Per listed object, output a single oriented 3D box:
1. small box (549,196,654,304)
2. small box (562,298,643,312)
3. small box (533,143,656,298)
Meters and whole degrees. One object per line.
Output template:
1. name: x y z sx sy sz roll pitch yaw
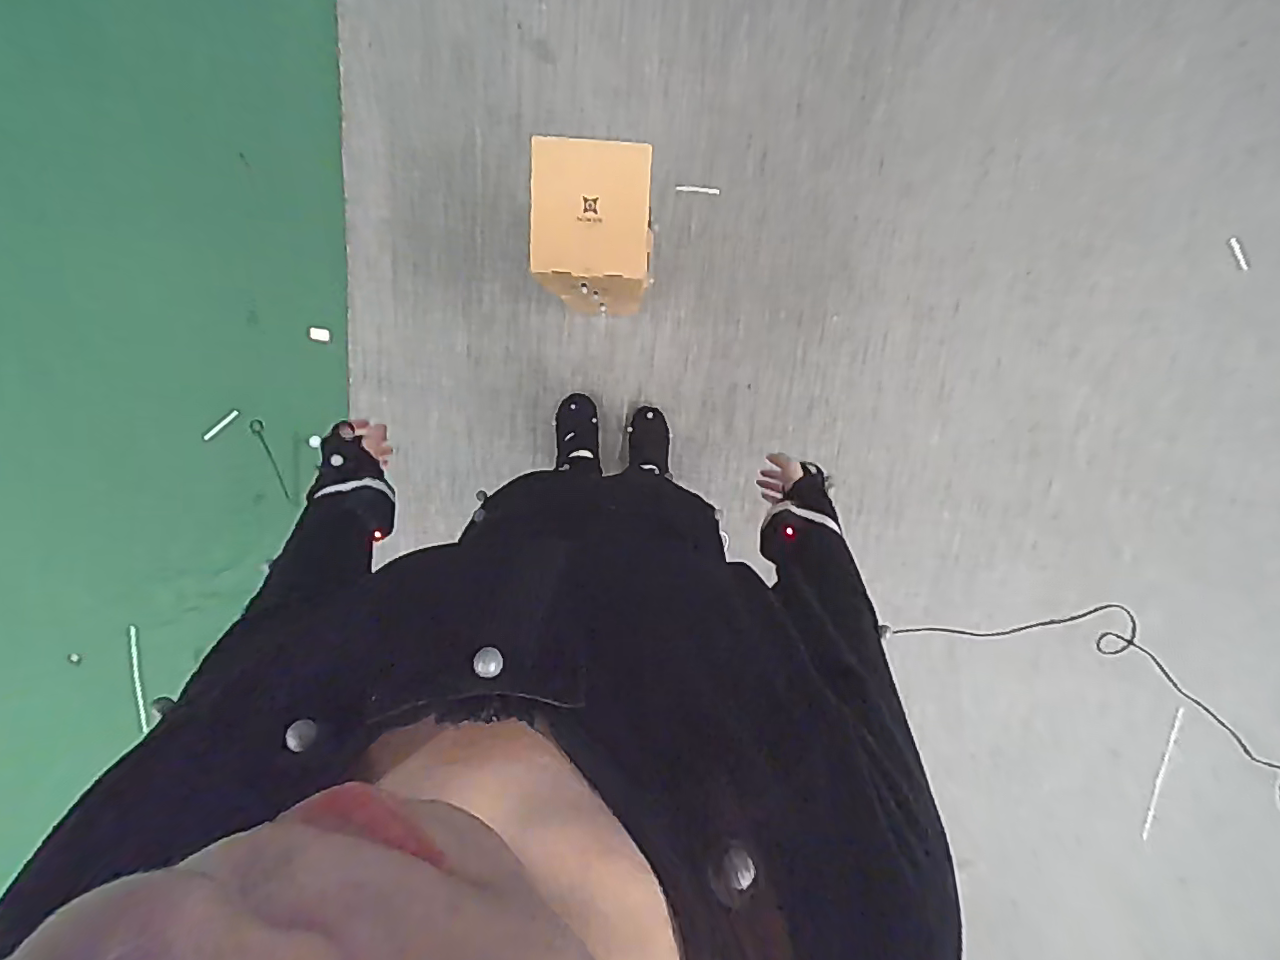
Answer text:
1. small box: -0.068 -0.421 0.995 0.179 0.176 0.168 2 102 0
2. small box: -0.076 -0.460 1.155 0.168 0.176 0.179 0 103 0
3. small box: -0.068 -0.387 0.836 0.168 0.176 0.179 4 103 -1
